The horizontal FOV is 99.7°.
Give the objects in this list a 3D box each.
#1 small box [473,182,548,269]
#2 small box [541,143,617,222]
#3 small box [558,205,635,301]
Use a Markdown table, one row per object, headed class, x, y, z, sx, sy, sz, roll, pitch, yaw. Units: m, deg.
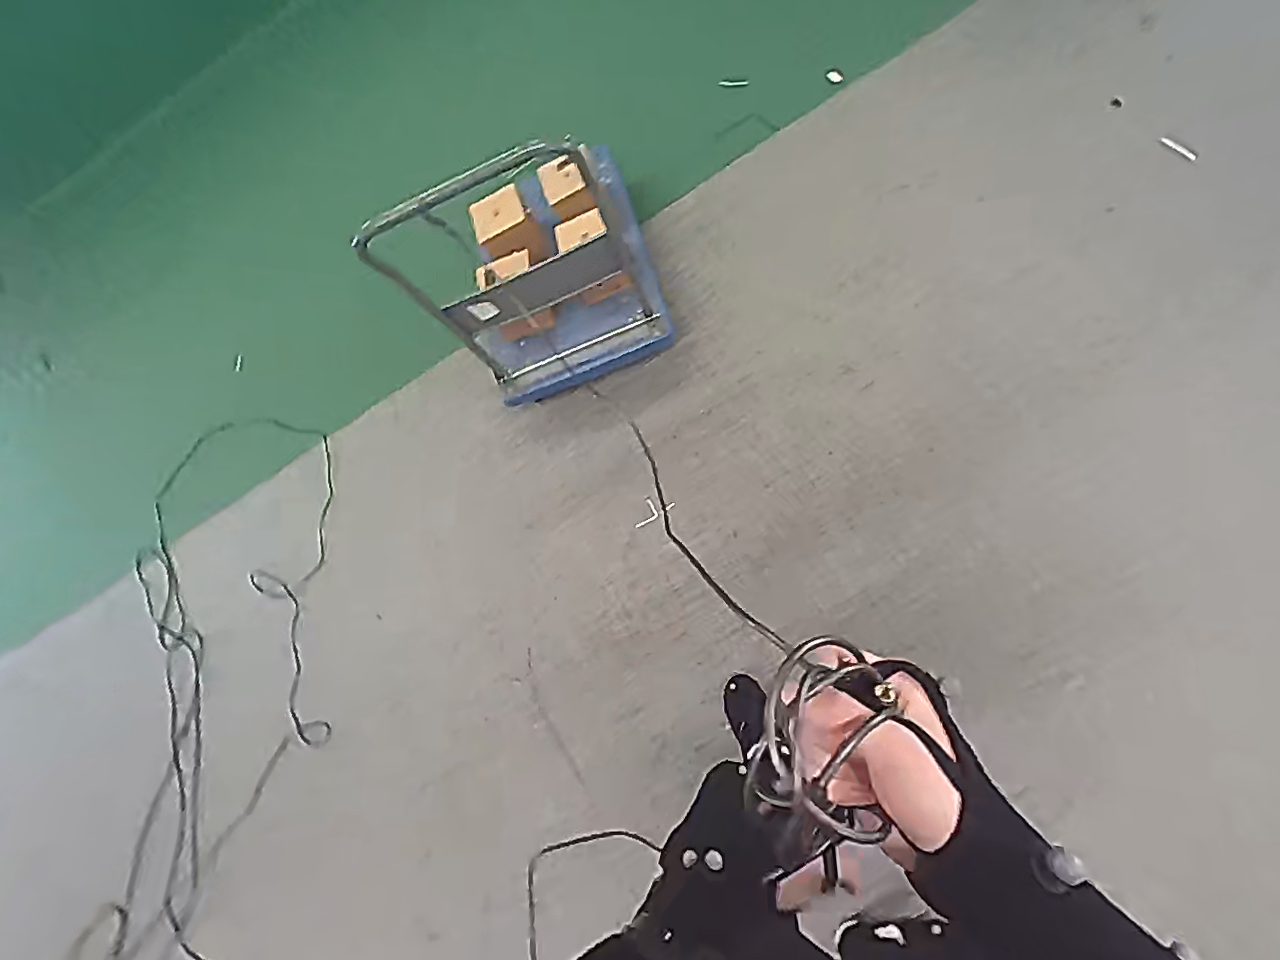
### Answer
| class | x | y | z | sx | sy | sz | roll | pitch | yaw |
| --- | --- | --- | --- | --- | --- | --- | --- | --- | --- |
| small box | -0.421 | -0.826 | 1.781 | 0.168 | 0.176 | 0.179 | -23 | 66 | 9 |
| small box | -0.194 | -0.924 | 1.740 | 0.168 | 0.176 | 0.179 | -23 | 67 | 10 |
| small box | -0.128 | -0.682 | 1.638 | 0.168 | 0.176 | 0.179 | -19 | 68 | 11 |
